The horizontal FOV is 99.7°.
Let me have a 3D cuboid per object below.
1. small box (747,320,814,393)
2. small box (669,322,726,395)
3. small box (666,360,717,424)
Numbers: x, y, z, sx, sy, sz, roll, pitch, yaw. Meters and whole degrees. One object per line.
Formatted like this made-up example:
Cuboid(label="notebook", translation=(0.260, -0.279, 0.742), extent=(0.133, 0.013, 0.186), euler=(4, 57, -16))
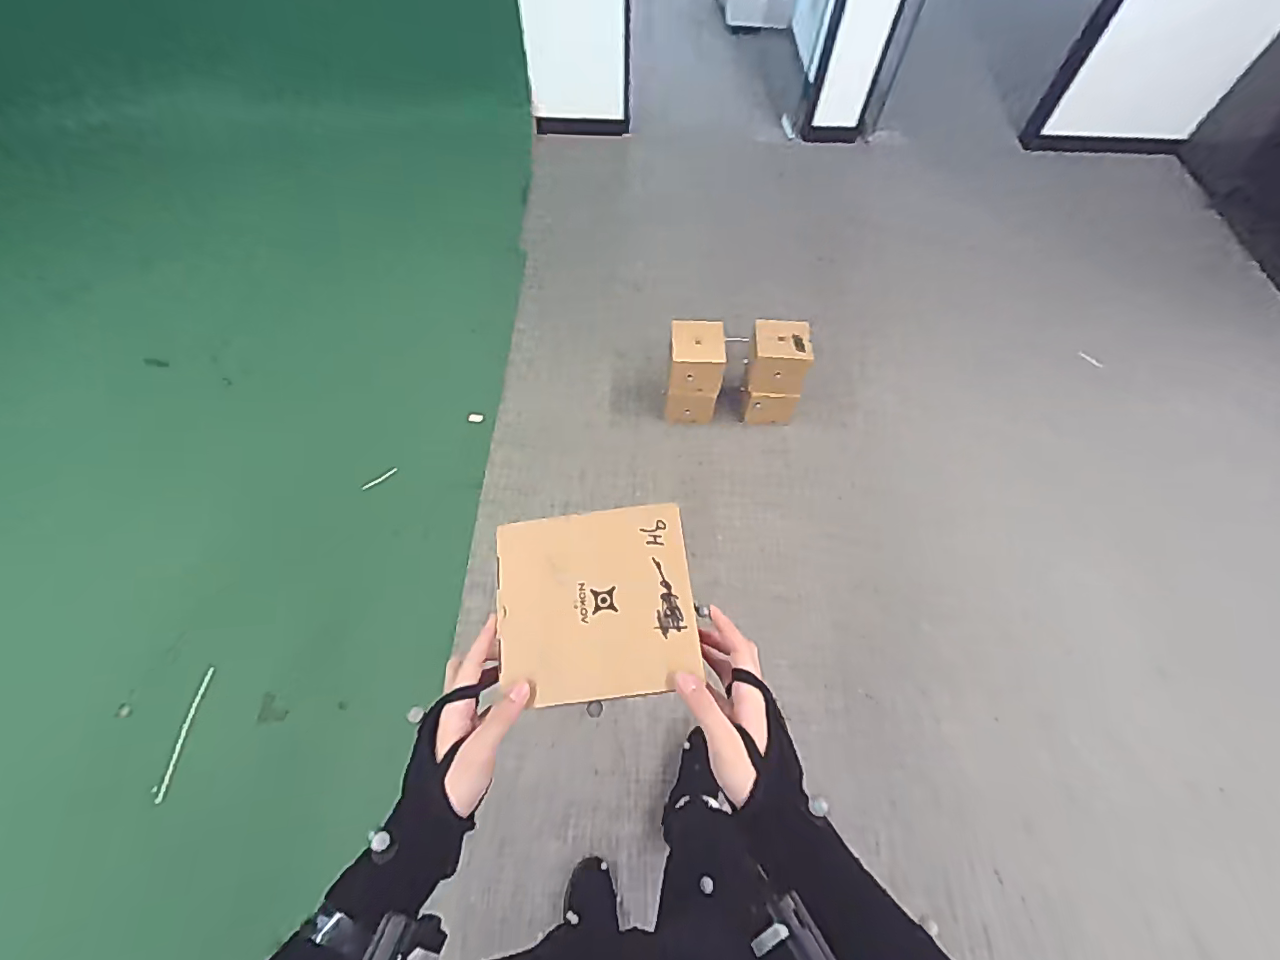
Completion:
Cuboid(label="small box", translation=(0.455, -0.402, 1.774), extent=(0.179, 0.176, 0.168), euler=(3, 59, 2))
Cuboid(label="small box", translation=(0.184, -0.393, 1.766), extent=(0.168, 0.176, 0.179), euler=(0, 60, -1))
Cuboid(label="small box", translation=(0.180, -0.313, 1.906), extent=(0.168, 0.176, 0.179), euler=(3, 60, 0))
